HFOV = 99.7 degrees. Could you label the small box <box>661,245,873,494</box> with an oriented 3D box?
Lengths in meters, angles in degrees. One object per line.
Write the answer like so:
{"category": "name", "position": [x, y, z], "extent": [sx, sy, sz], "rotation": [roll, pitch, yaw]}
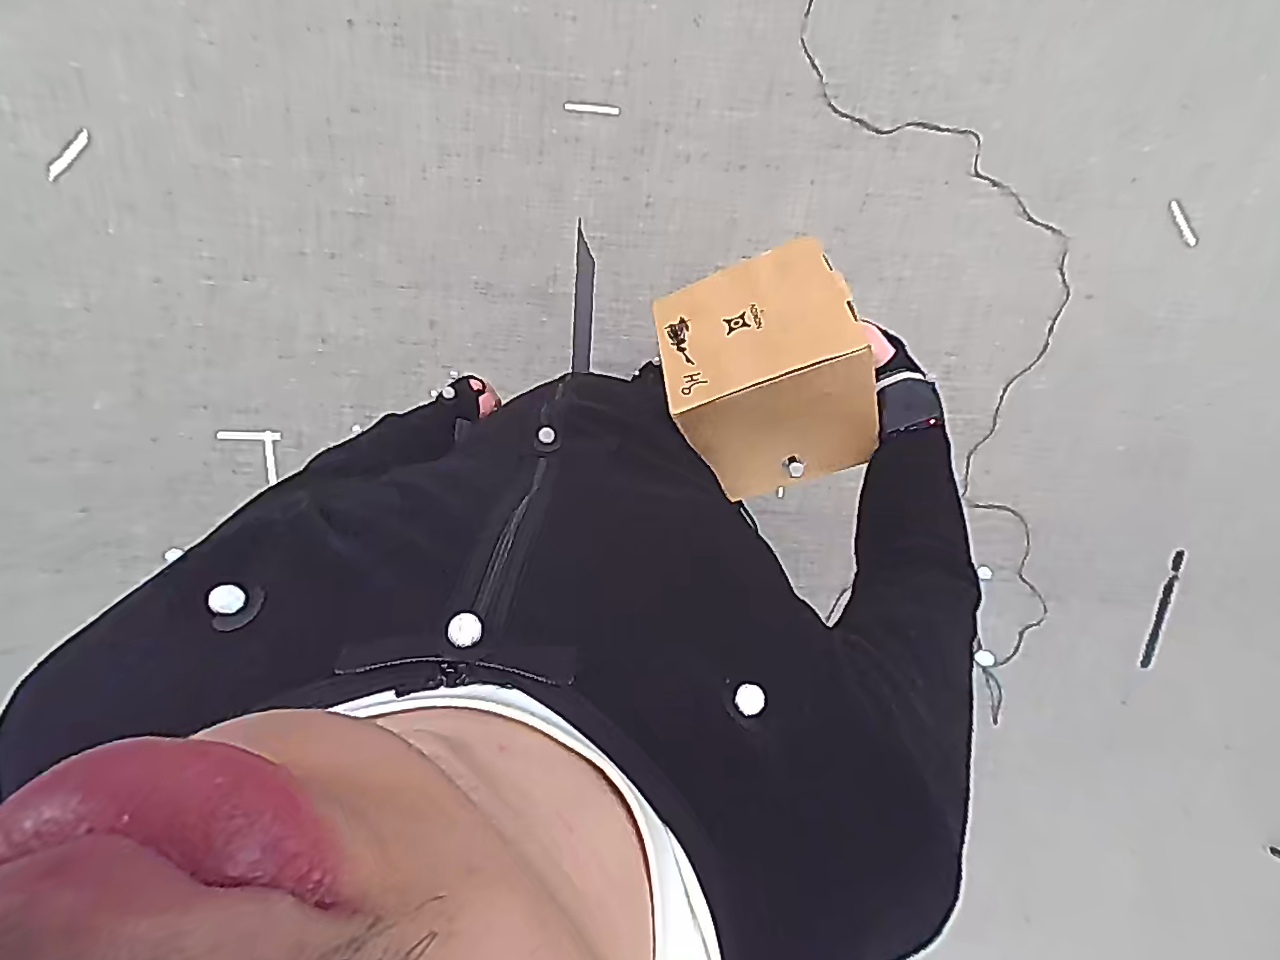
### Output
{"category": "small box", "position": [0.138, -0.109, 0.585], "extent": [0.179, 0.168, 0.176], "rotation": [-17, 142, 14]}
